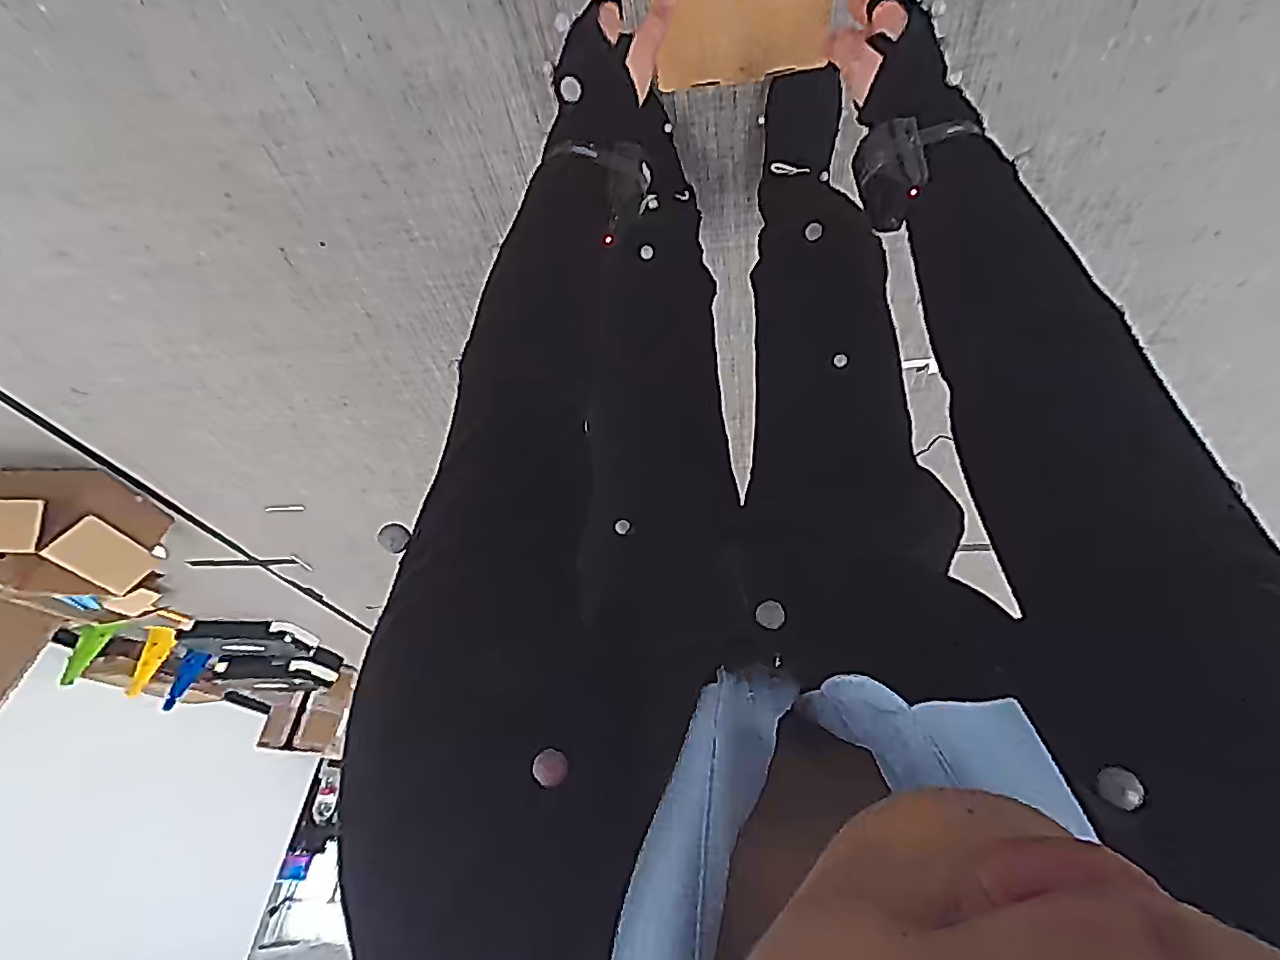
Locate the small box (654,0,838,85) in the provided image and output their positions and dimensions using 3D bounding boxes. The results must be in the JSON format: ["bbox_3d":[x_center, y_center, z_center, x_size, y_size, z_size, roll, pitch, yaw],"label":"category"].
[{"bbox_3d":[0.093,-0.514,0.507,0.168,0.176,0.179,-3,144,10],"label":"small box"}]
